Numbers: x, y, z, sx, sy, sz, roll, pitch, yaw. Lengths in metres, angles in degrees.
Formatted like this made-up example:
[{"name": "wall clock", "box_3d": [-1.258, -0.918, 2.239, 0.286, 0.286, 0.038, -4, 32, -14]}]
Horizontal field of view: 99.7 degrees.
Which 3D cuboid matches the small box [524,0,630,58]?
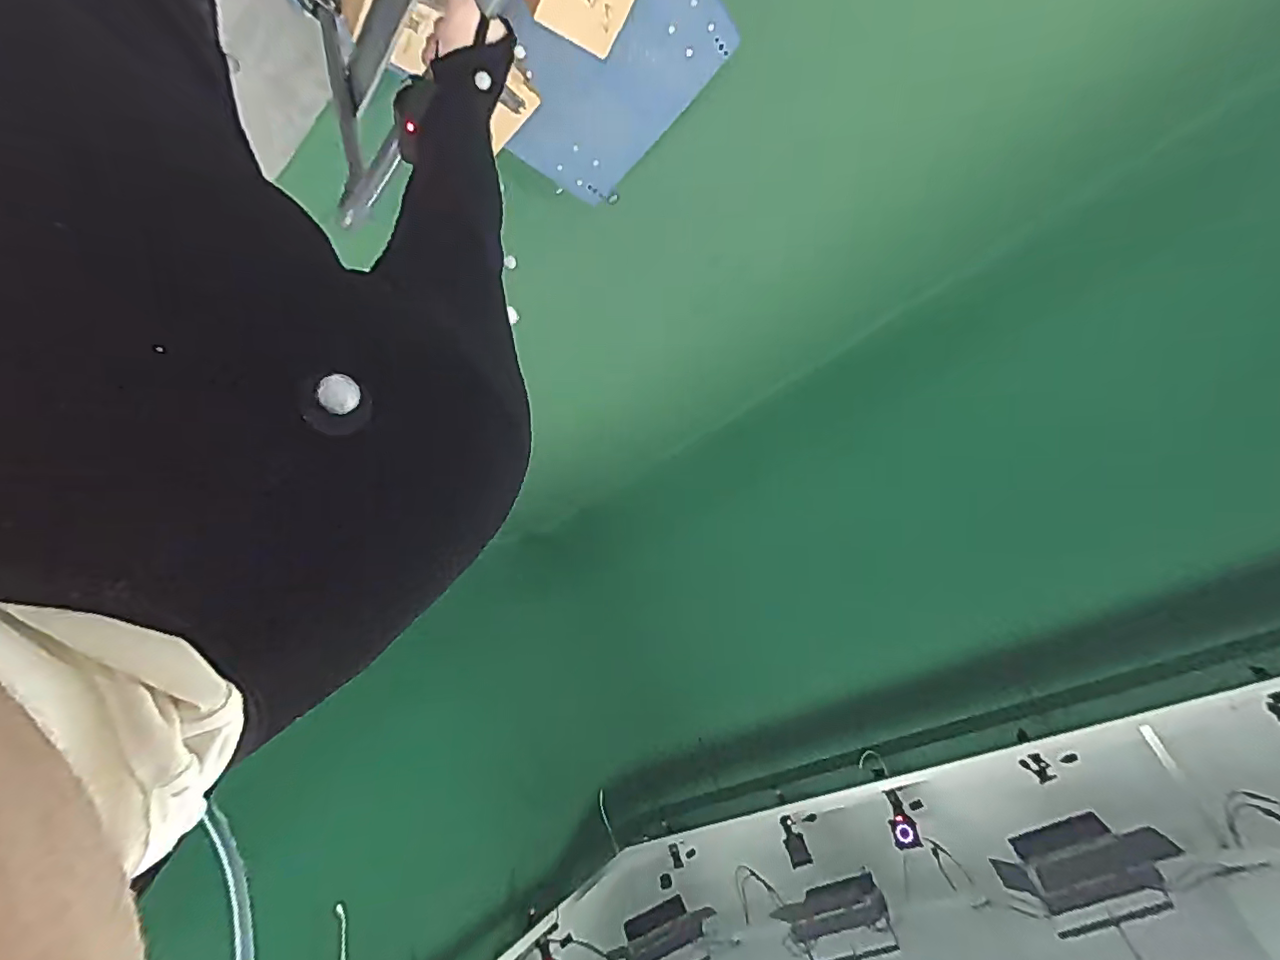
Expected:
[{"name": "small box", "box_3d": [-0.131, -0.981, 1.040, 0.179, 0.176, 0.168, -5, 154, -42]}]
